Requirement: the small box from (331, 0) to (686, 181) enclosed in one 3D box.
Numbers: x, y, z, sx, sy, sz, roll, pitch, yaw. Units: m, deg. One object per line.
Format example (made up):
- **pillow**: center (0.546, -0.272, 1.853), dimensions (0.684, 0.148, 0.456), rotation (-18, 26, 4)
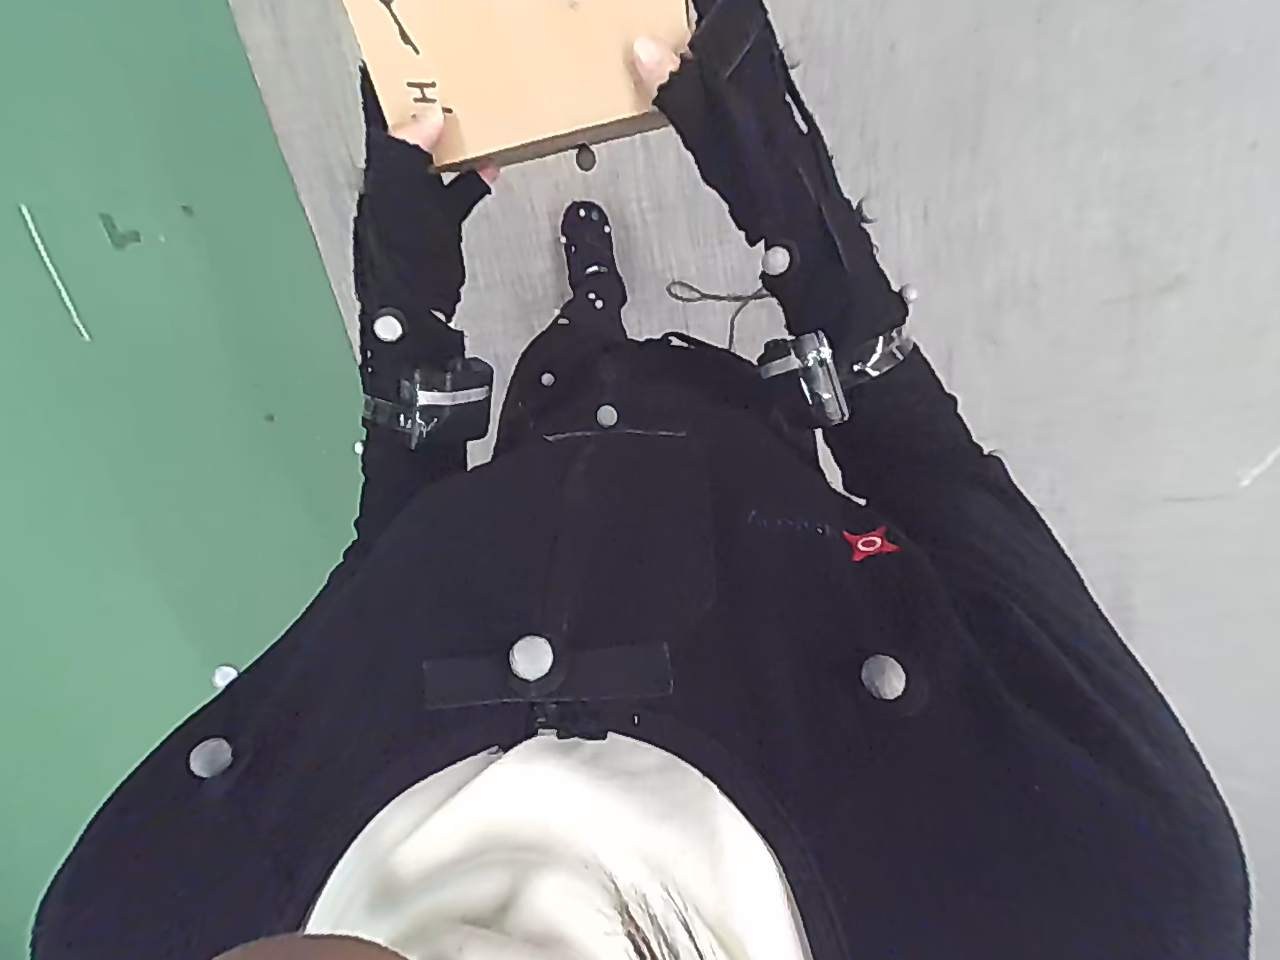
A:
- **small box**: center (-0.070, -0.296, 0.337), dimensions (0.179, 0.176, 0.168), rotation (-7, 118, 8)
